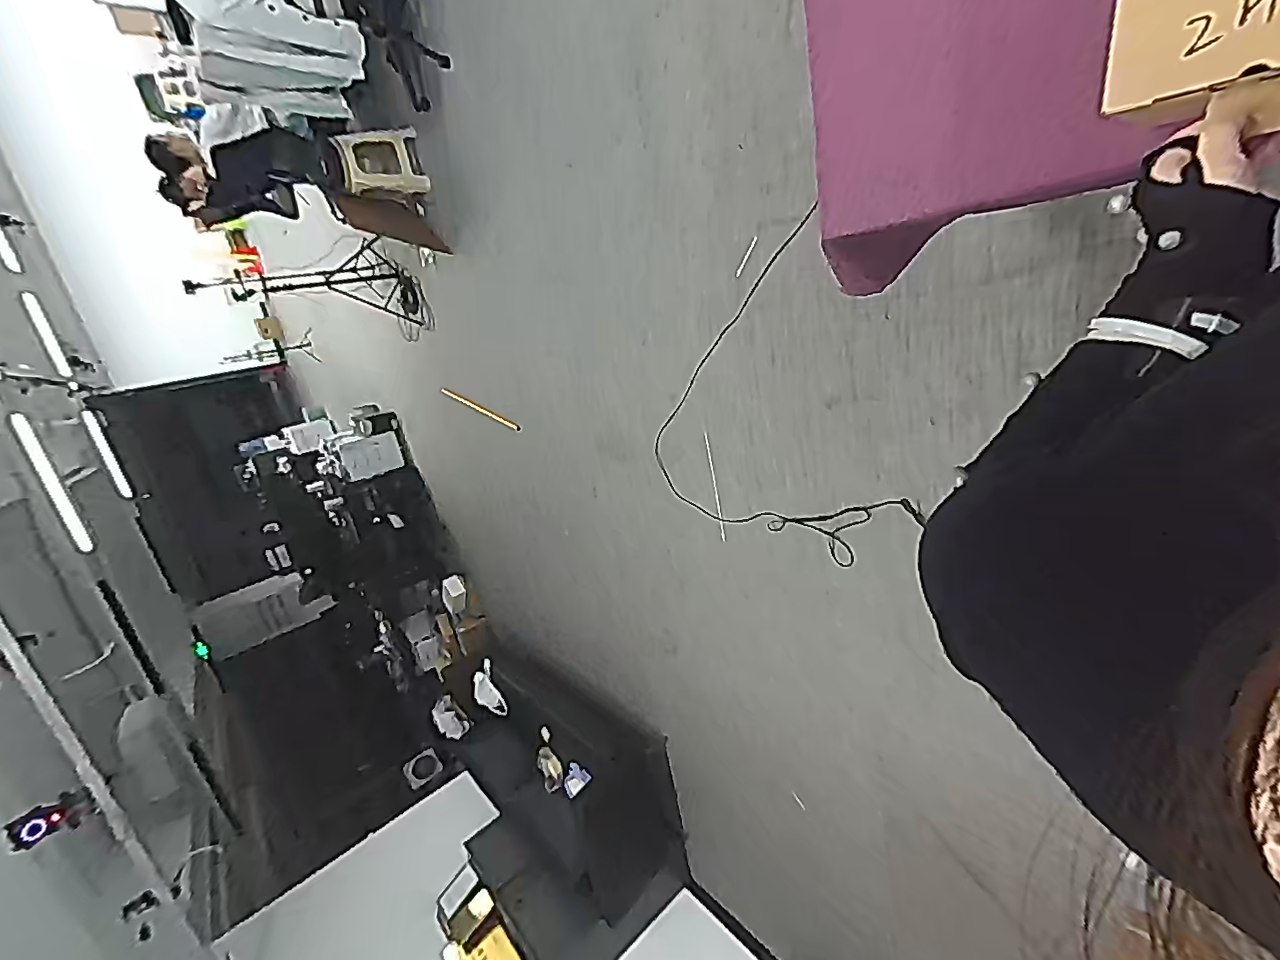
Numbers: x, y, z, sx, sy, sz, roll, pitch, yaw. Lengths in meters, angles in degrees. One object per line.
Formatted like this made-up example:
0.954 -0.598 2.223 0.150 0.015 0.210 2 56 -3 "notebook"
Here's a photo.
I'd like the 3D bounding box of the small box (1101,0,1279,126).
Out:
0.473 -0.381 0.391 0.168 0.176 0.179 18 122 48 "small box"
